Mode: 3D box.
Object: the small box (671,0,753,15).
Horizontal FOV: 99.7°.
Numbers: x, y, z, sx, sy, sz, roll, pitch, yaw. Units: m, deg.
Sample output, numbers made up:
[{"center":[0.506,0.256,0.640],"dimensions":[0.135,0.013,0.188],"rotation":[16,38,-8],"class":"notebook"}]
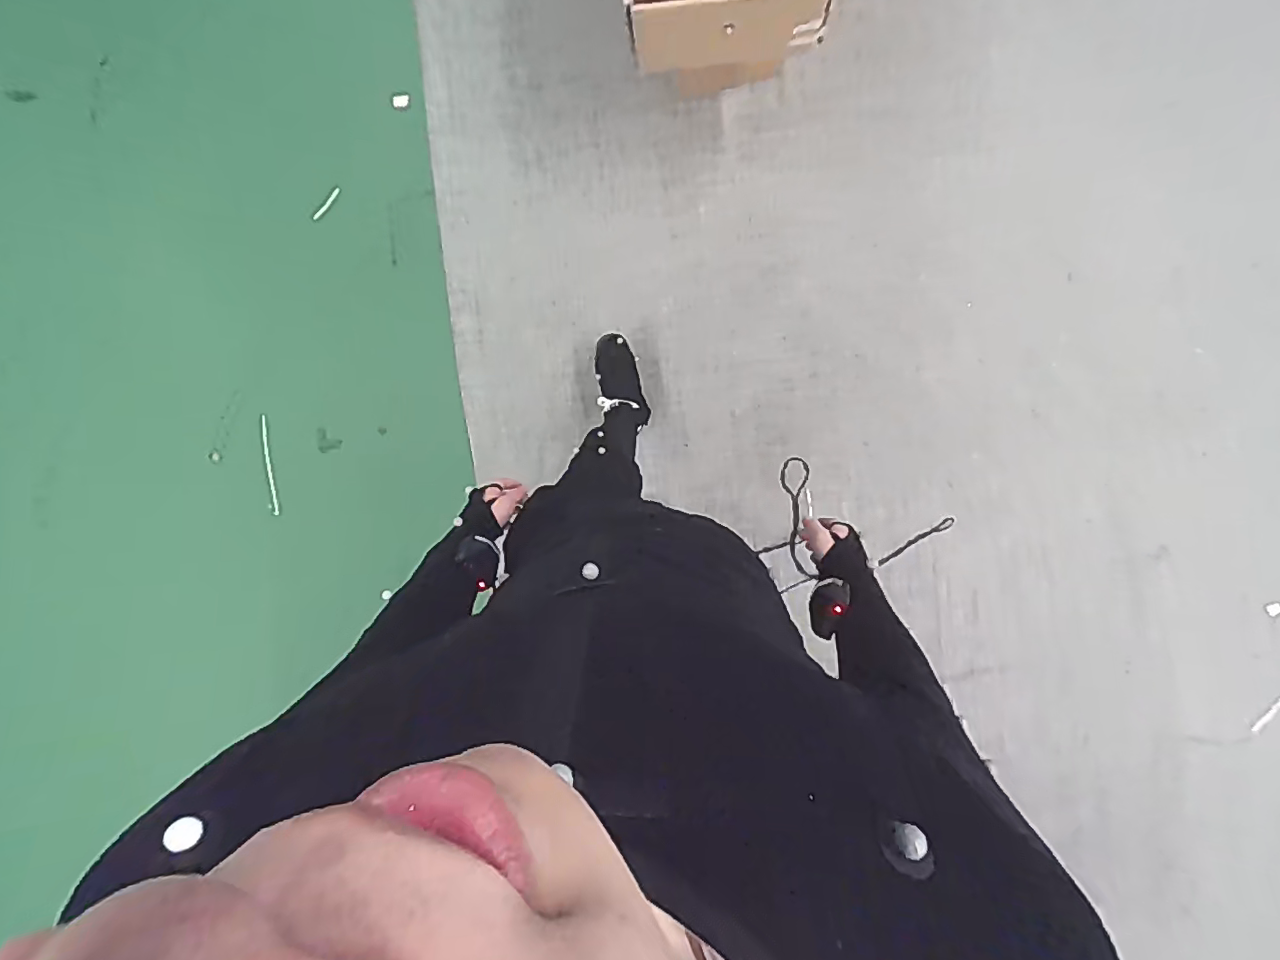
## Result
[{"center":[0.139,-1.033,1.029],"dimensions":[0.168,0.176,0.179],"rotation":[-2,93,4],"class":"small box"}]
